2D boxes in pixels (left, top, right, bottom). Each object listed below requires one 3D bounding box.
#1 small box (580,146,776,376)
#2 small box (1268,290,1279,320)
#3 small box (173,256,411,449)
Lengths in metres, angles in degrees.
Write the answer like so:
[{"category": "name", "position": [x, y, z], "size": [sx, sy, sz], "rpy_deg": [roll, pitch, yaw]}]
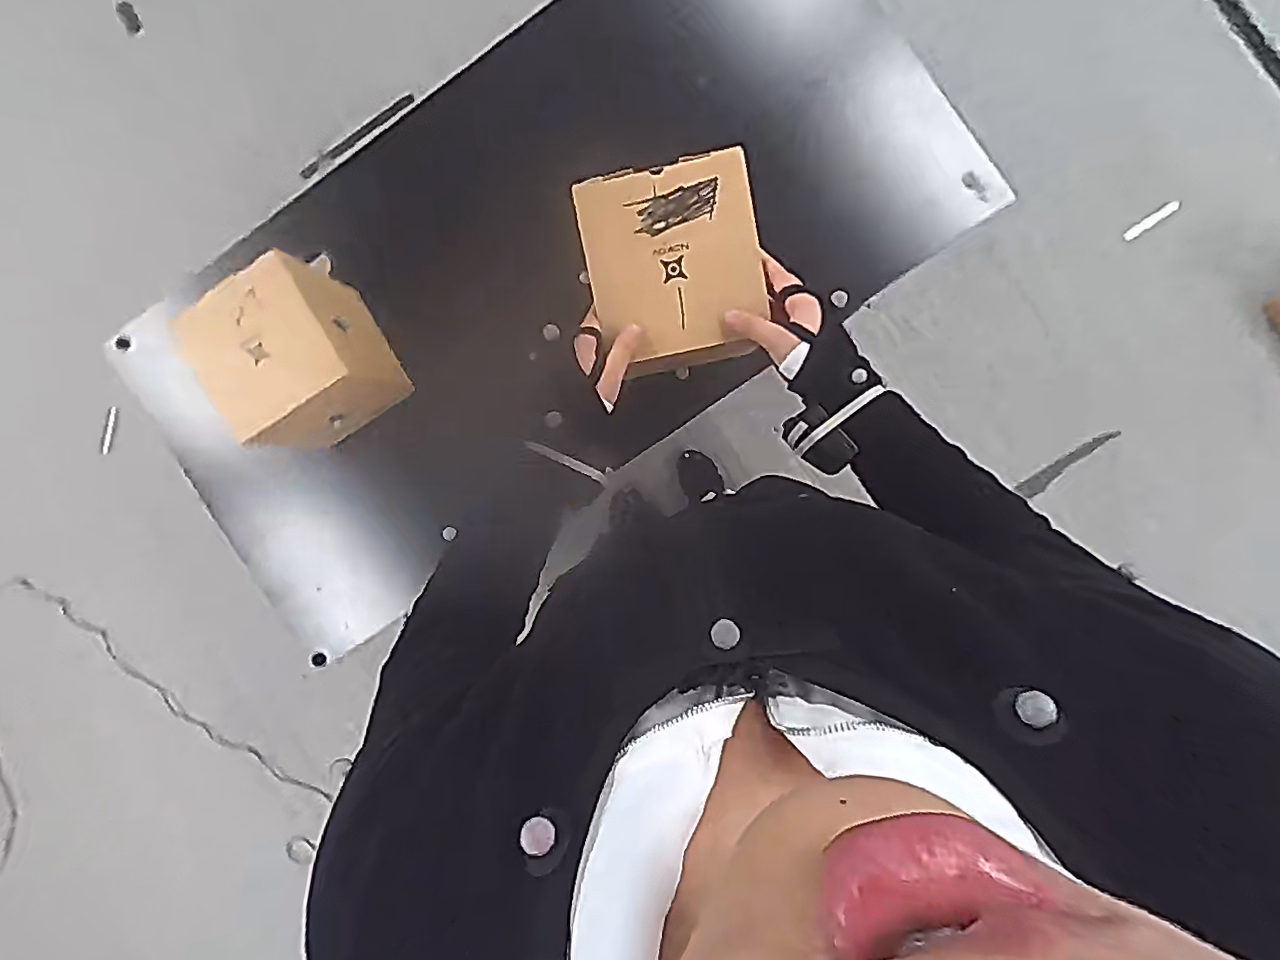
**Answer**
[{"category": "small box", "position": [0.040, -0.220, 0.591], "size": [0.168, 0.176, 0.179], "rpy_deg": [-10, 96, 4]}, {"category": "small box", "position": [1.689, -0.427, 1.279], "size": [0.168, 0.176, 0.179], "rpy_deg": [-35, 88, 4]}, {"category": "small box", "position": [-0.447, -0.156, 0.726], "size": [0.168, 0.176, 0.179], "rpy_deg": [-32, 88, 4]}]
